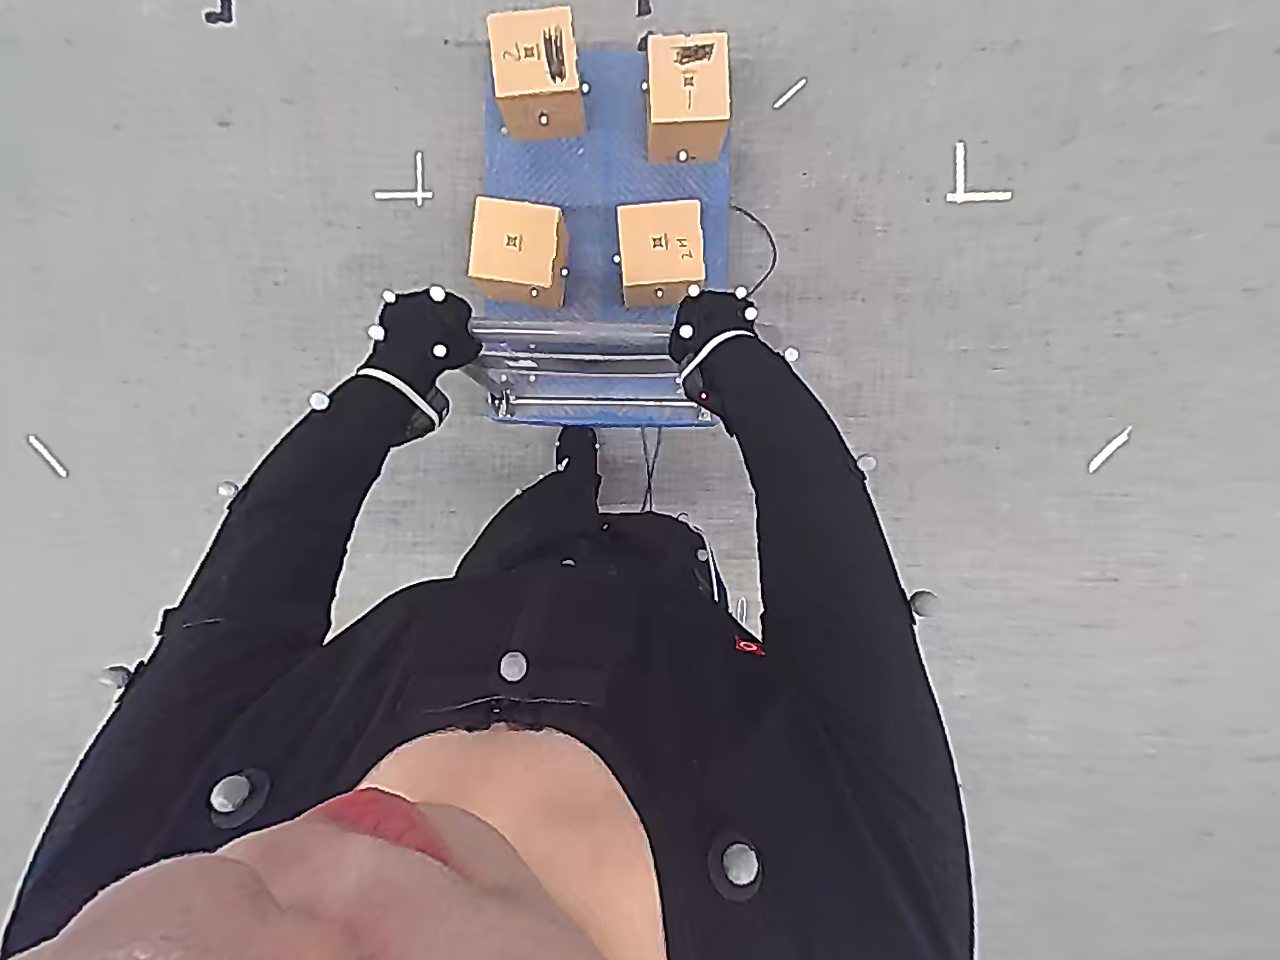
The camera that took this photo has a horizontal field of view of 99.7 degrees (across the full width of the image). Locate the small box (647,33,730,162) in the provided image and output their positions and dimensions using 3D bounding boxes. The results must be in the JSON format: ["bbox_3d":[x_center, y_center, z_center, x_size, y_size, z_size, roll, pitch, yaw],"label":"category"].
[{"bbox_3d":[0.101,-0.836,1.195,0.168,0.176,0.179,-3,94,0],"label":"small box"}]

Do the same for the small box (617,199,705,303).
[{"bbox_3d":[0.046,-0.503,1.210,0.179,0.176,0.168,-5,93,0],"label":"small box"}]

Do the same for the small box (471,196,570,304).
[{"bbox_3d":[-0.259,-0.505,1.208,0.179,0.176,0.168,7,92,-2],"label":"small box"}]
